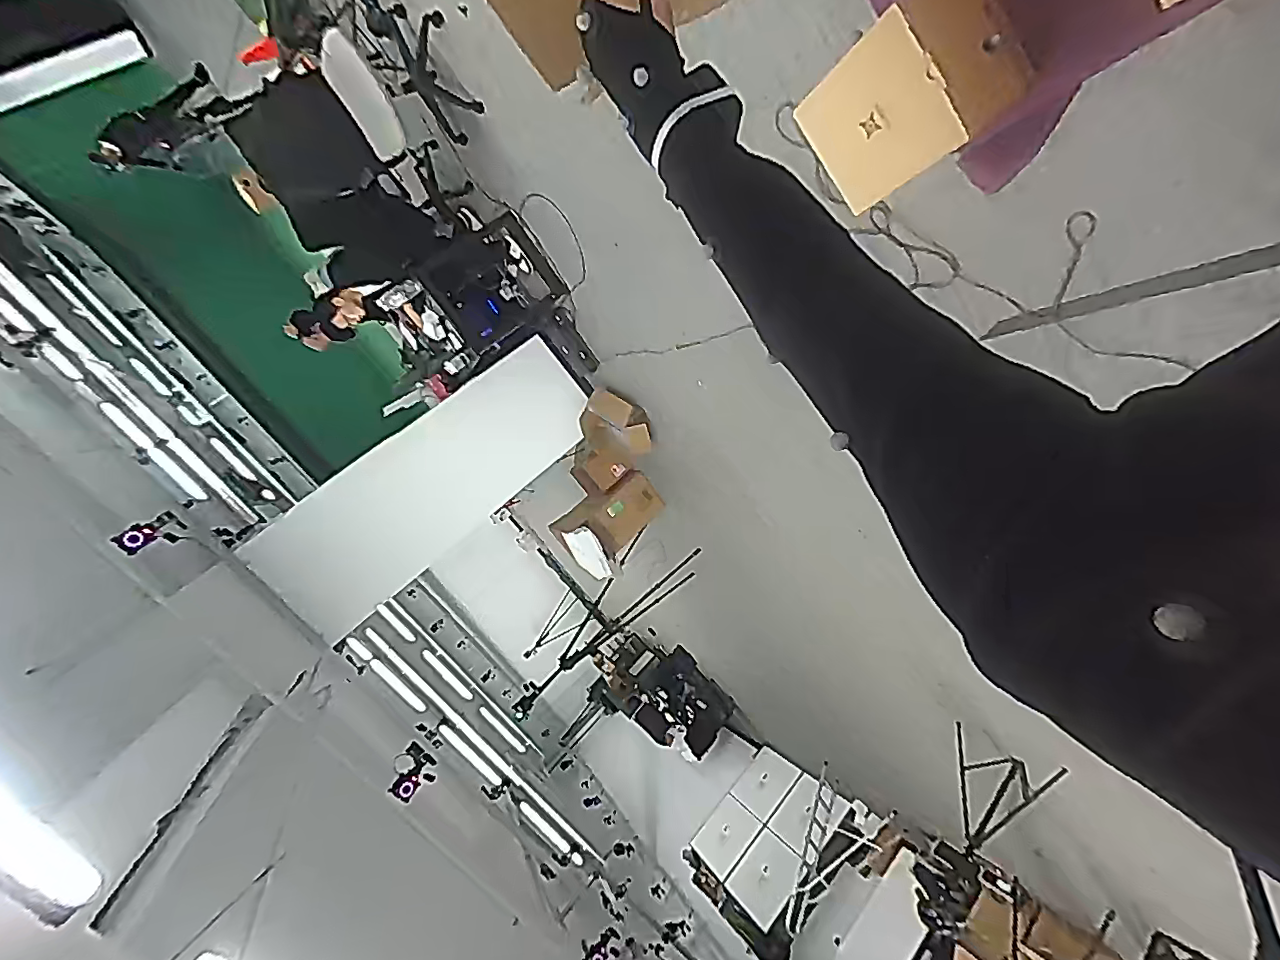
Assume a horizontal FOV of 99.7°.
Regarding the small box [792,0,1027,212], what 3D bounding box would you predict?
[{"bbox_3d":[0.341,-0.492,0.693,0.168,0.176,0.179,52,159,-11],"label":"small box"}]
